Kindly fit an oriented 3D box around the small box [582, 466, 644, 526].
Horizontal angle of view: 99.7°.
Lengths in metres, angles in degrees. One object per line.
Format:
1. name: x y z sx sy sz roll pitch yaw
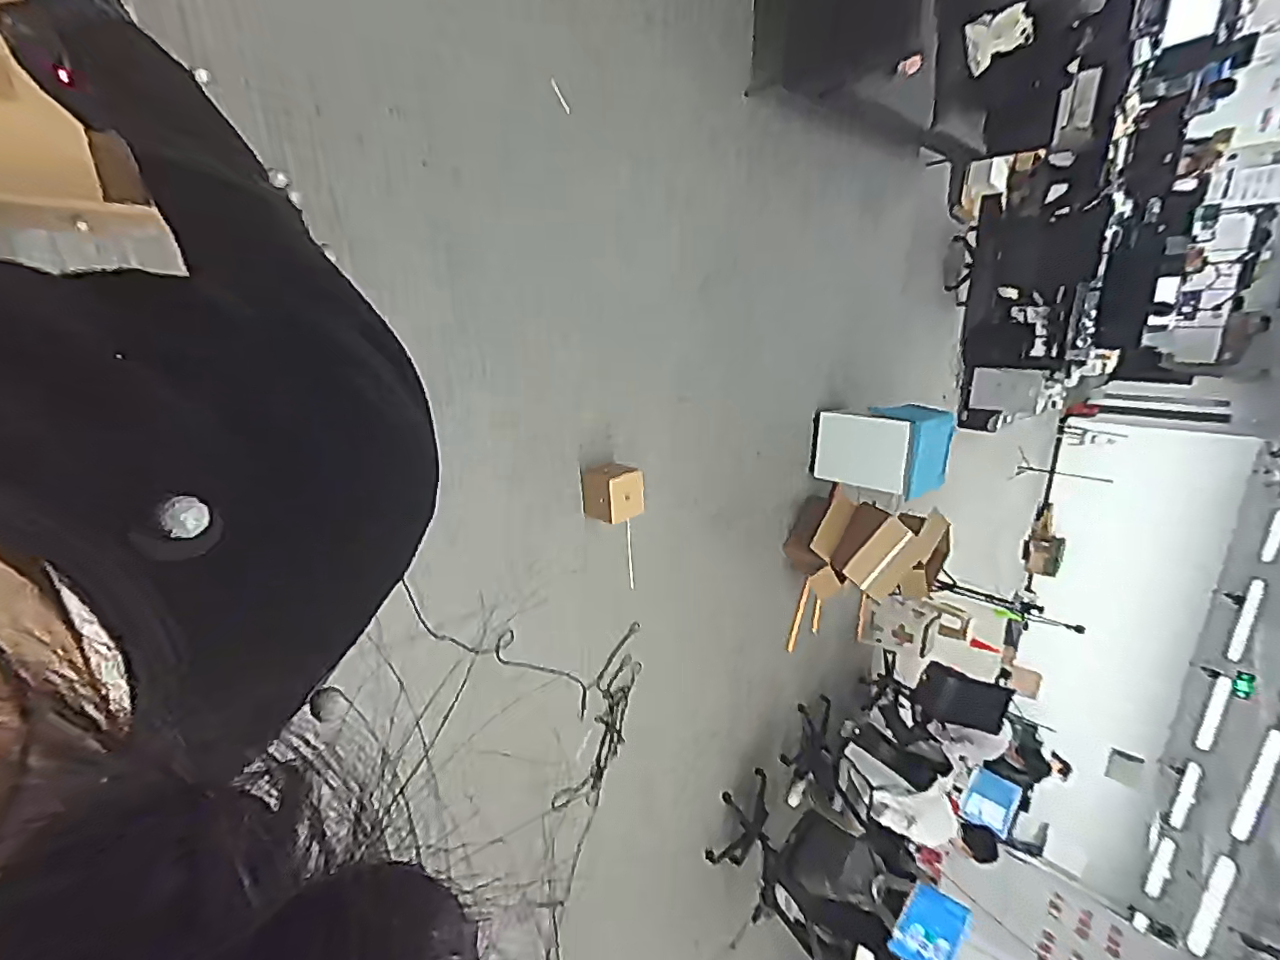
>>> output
1. small box: -0.103 0.051 2.030 0.168 0.176 0.179 -18 114 -41
